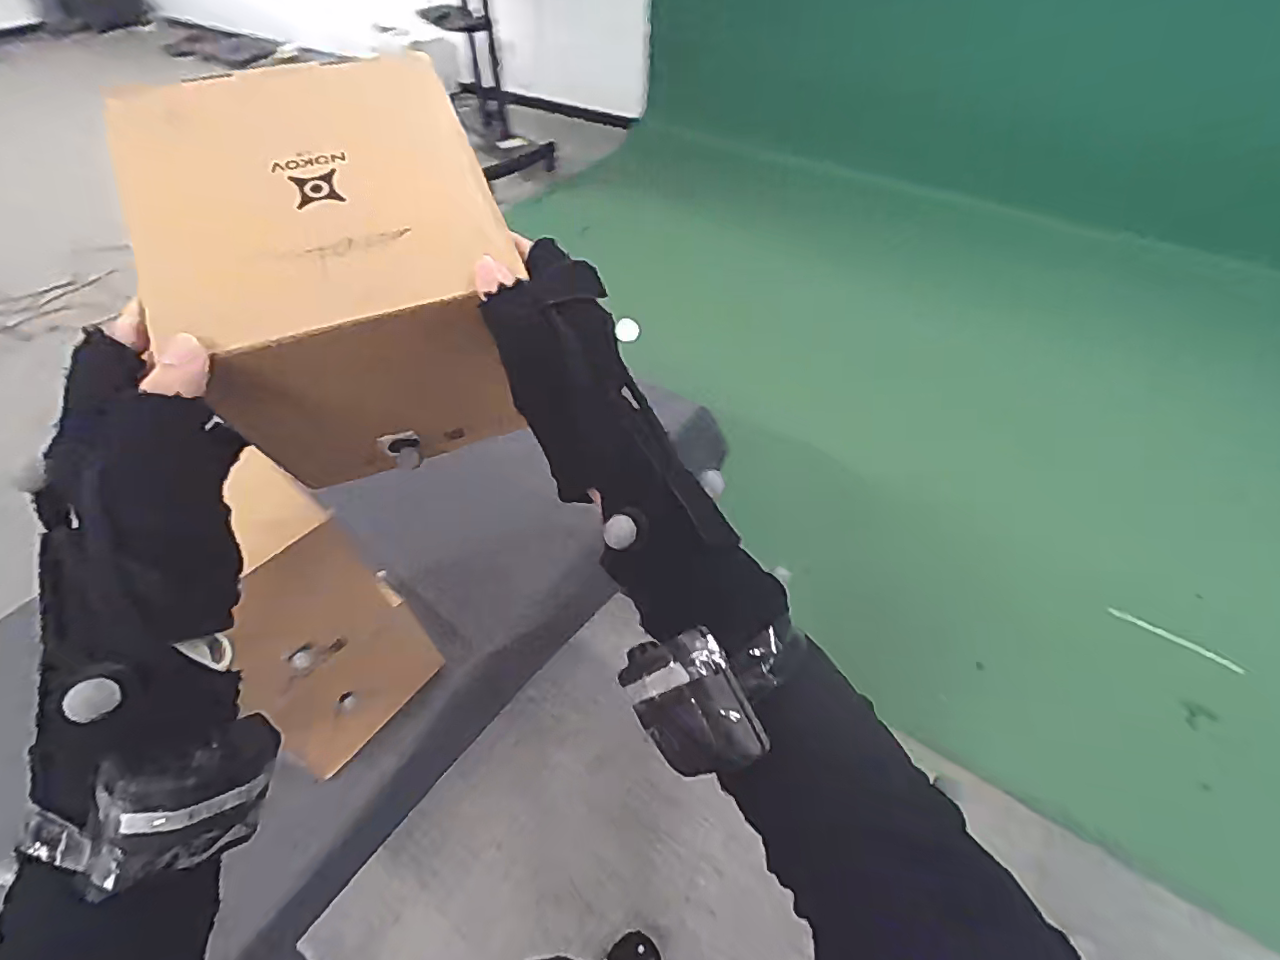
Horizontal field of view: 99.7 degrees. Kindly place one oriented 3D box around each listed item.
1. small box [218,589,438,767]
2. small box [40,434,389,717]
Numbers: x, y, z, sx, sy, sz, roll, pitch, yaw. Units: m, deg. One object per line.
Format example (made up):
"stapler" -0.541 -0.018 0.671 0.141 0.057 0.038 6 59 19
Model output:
"small box" -0.375 0.201 0.638 0.168 0.176 0.179 28 57 24
"small box" -0.383 0.091 0.516 0.179 0.176 0.168 27 55 25
